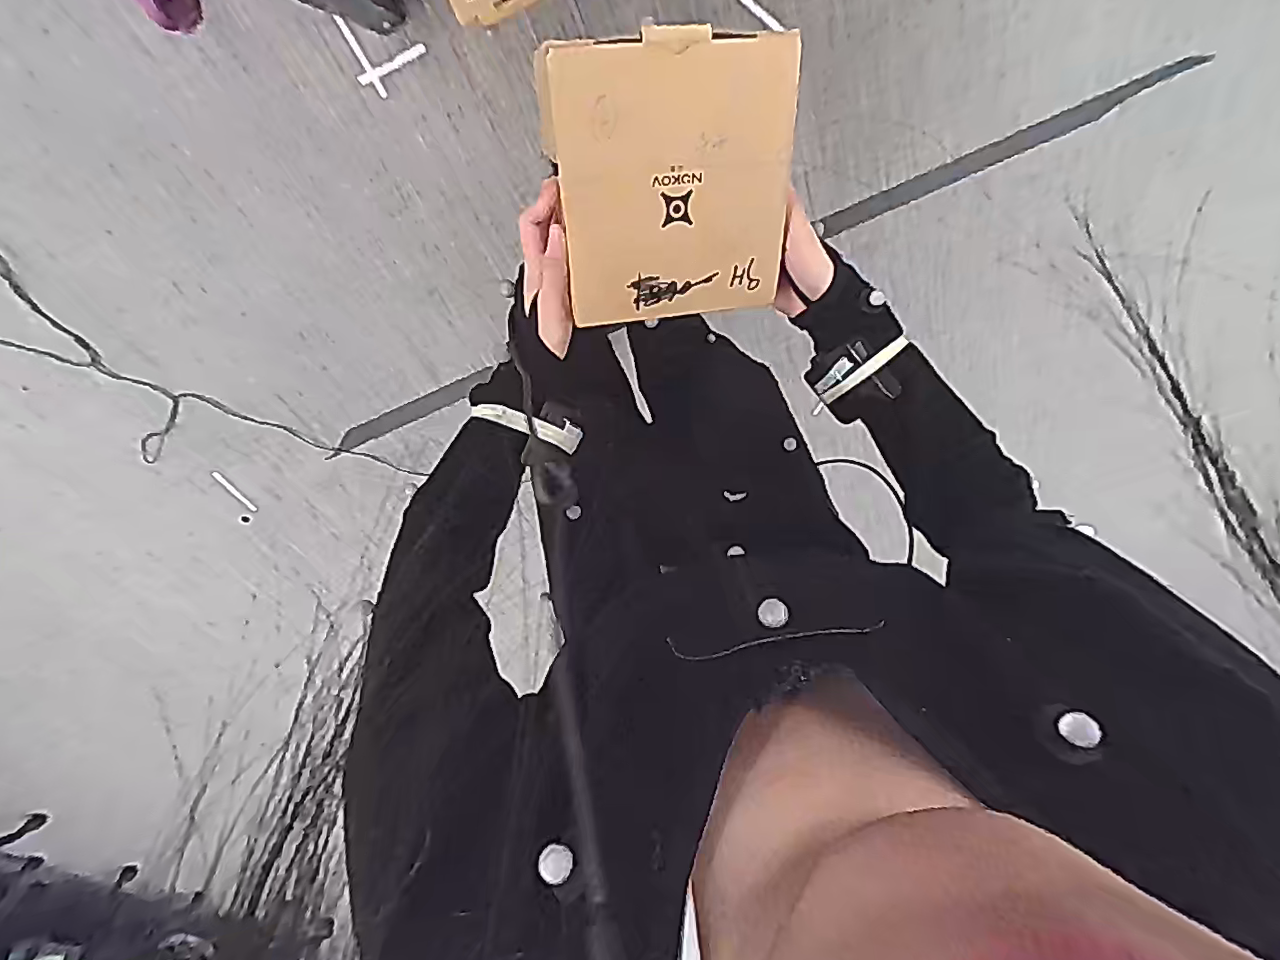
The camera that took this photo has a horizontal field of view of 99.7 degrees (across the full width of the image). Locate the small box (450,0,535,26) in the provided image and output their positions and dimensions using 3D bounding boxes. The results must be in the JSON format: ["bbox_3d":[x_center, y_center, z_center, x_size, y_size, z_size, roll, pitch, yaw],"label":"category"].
[{"bbox_3d":[-0.245,-0.849,0.846,0.168,0.176,0.179,-22,124,5],"label":"small box"}]

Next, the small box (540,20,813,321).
[{"bbox_3d":[0.015,-0.247,0.437,0.168,0.176,0.179,-9,127,-8],"label":"small box"}]
